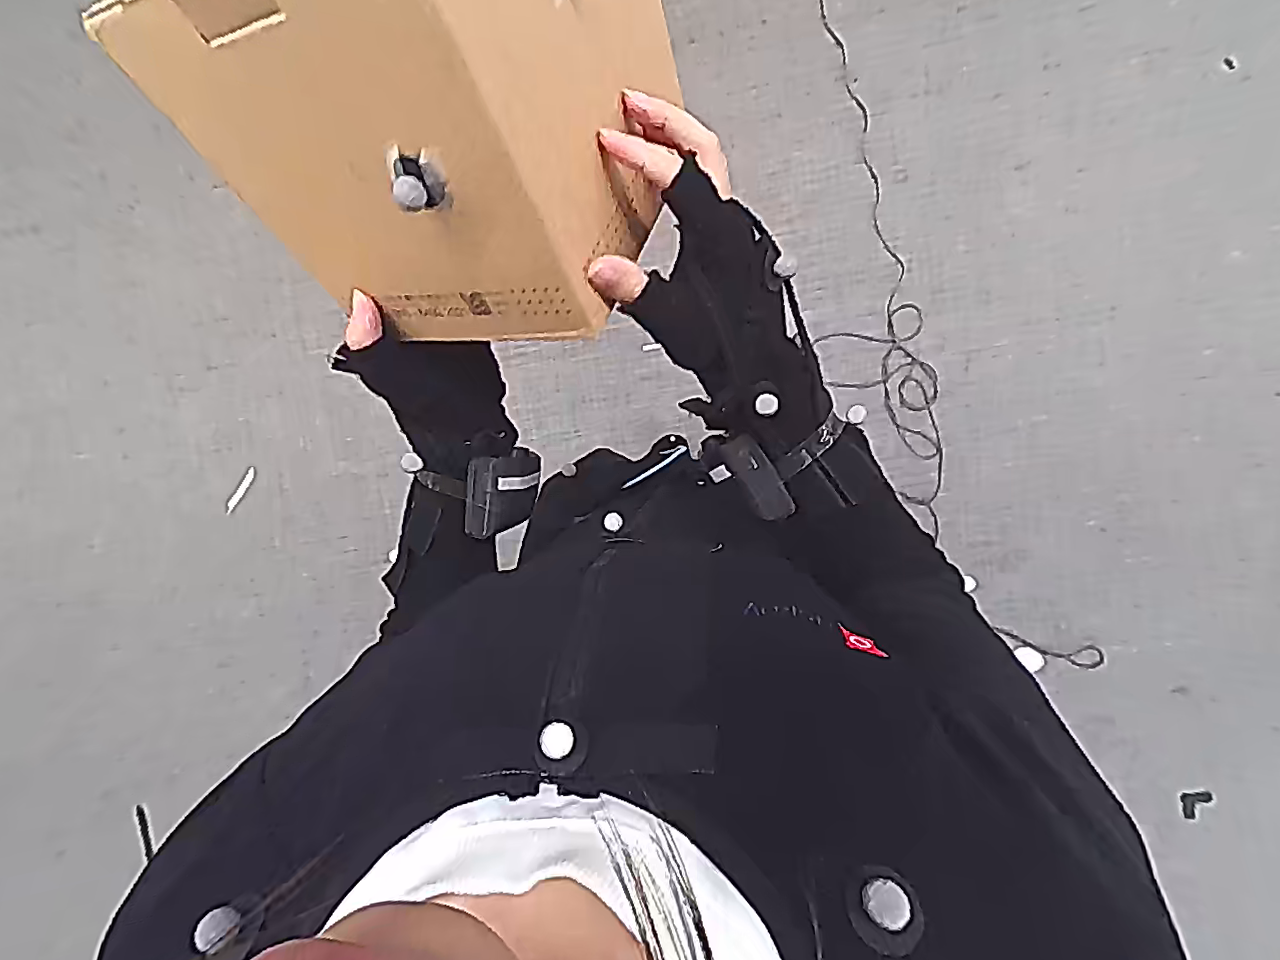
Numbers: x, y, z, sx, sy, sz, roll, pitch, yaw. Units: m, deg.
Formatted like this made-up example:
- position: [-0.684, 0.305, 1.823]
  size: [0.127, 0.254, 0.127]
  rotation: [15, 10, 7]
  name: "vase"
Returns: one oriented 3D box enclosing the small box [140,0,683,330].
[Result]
- position: [-0.089, -0.200, 0.294]
  size: [0.168, 0.176, 0.179]
  rotation: [9, 61, 25]
  name: "small box"
